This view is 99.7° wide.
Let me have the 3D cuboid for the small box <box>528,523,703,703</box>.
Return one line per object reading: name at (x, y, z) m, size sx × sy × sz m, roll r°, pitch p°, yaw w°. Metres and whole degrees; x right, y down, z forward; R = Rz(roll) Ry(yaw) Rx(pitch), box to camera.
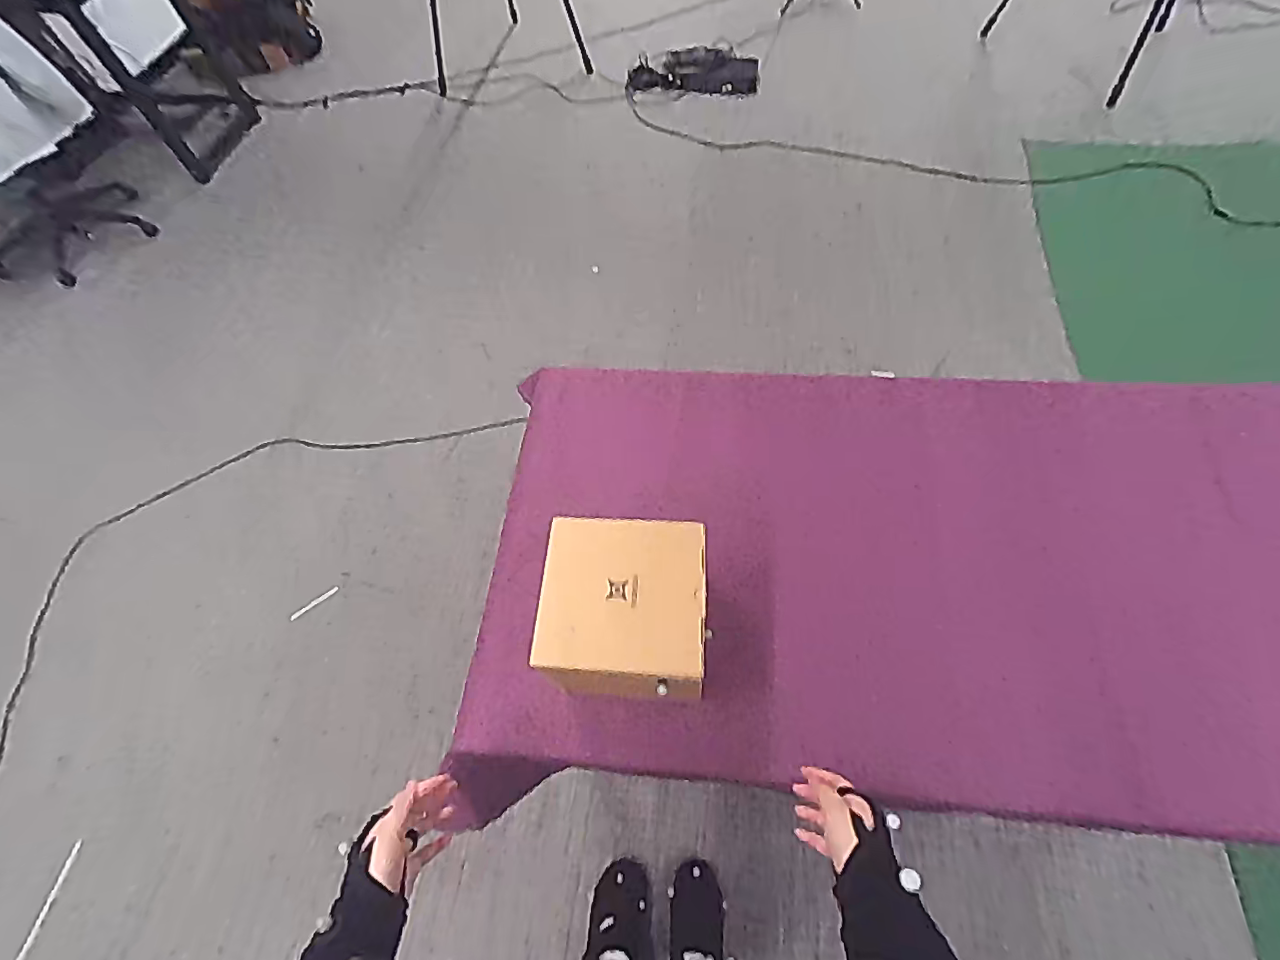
small box at (-0.015, 0.162, 0.642) m, size 0.179 × 0.176 × 0.168 m, roll 1°, pitch 60°, yaw 5°
